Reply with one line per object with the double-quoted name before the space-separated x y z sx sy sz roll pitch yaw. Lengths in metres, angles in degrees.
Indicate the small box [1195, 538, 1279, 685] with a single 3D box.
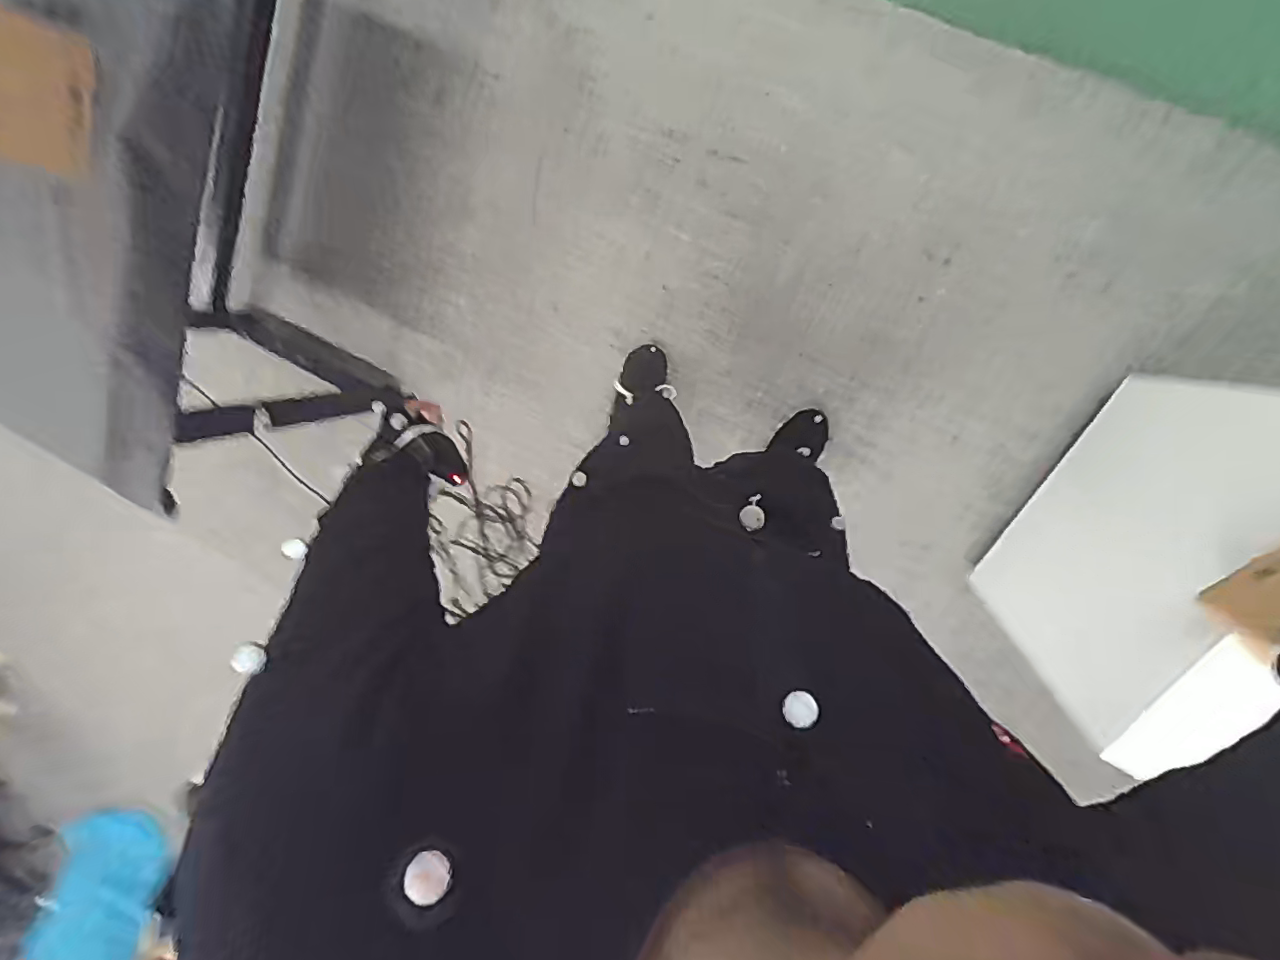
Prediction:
"small box" 0.734 0.159 0.528 0.179 0.176 0.168 44 110 -2
